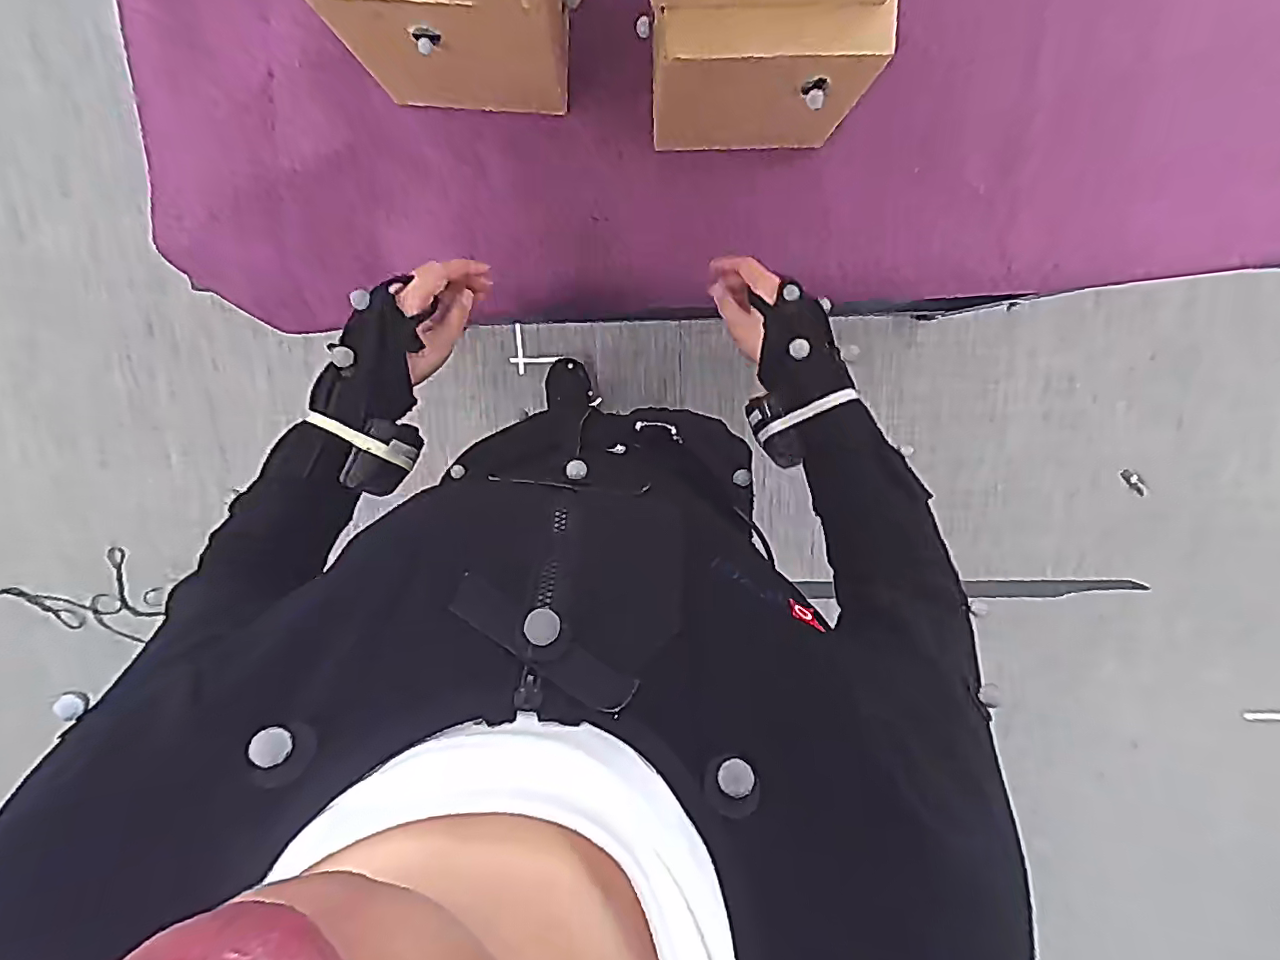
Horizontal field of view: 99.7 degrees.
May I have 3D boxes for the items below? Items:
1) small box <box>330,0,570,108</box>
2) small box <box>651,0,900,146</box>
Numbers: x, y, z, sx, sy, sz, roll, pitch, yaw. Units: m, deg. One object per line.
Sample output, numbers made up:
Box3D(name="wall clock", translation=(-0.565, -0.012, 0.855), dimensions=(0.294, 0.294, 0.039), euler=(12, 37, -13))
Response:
Box3D(name="small box", translation=(-0.155, -0.444, 0.453), dimensions=(0.179, 0.176, 0.168), euler=(3, 101, -3))
Box3D(name="small box", translation=(0.101, -0.410, 0.463), dimensions=(0.179, 0.176, 0.168), euler=(-1, 100, -1))
